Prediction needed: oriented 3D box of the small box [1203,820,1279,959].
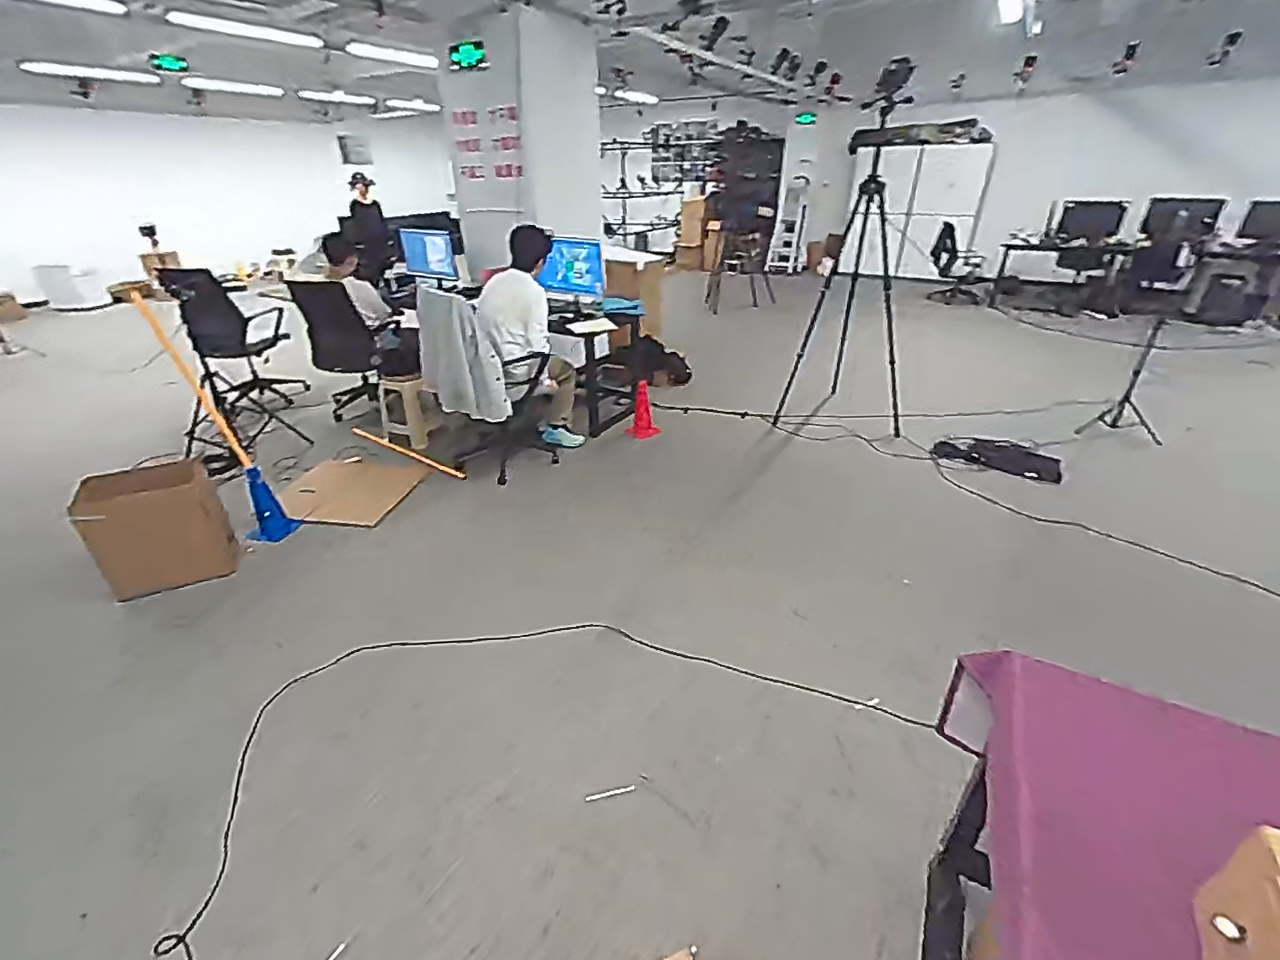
[{"bbox_3d":[0.730,0.508,0.552,0.179,0.176,0.168,17,35,30],"label":"small box"}]
